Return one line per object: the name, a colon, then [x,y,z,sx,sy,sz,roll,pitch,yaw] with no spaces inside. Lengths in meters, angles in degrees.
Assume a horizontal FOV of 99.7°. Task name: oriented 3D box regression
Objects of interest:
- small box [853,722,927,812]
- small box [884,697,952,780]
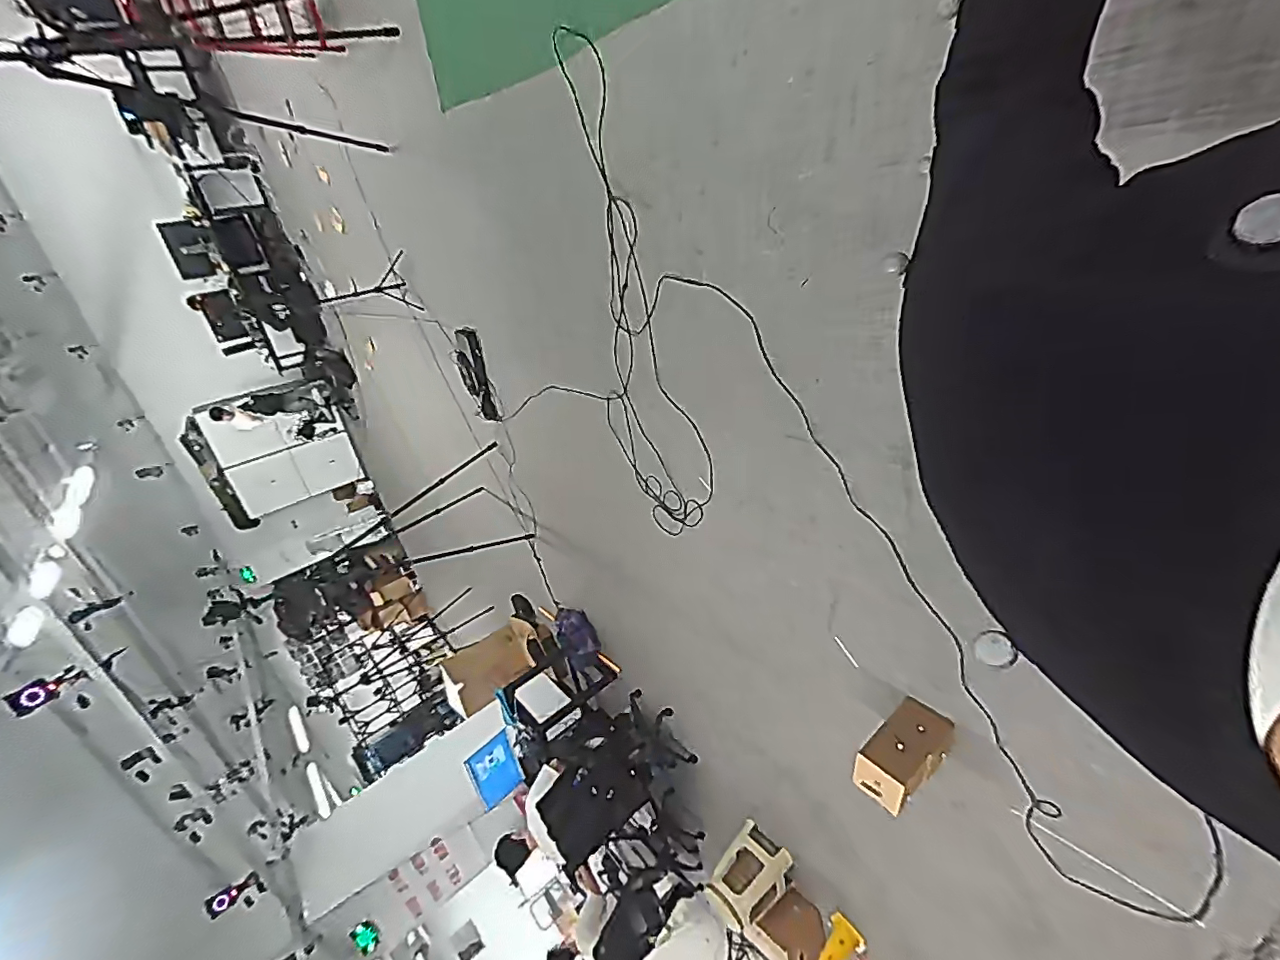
small box: [0.859,0.982,1.859,0.168,0.176,0.179,27,133,44]
small box: [0.988,0.919,1.941,0.179,0.176,0.168,25,132,44]
